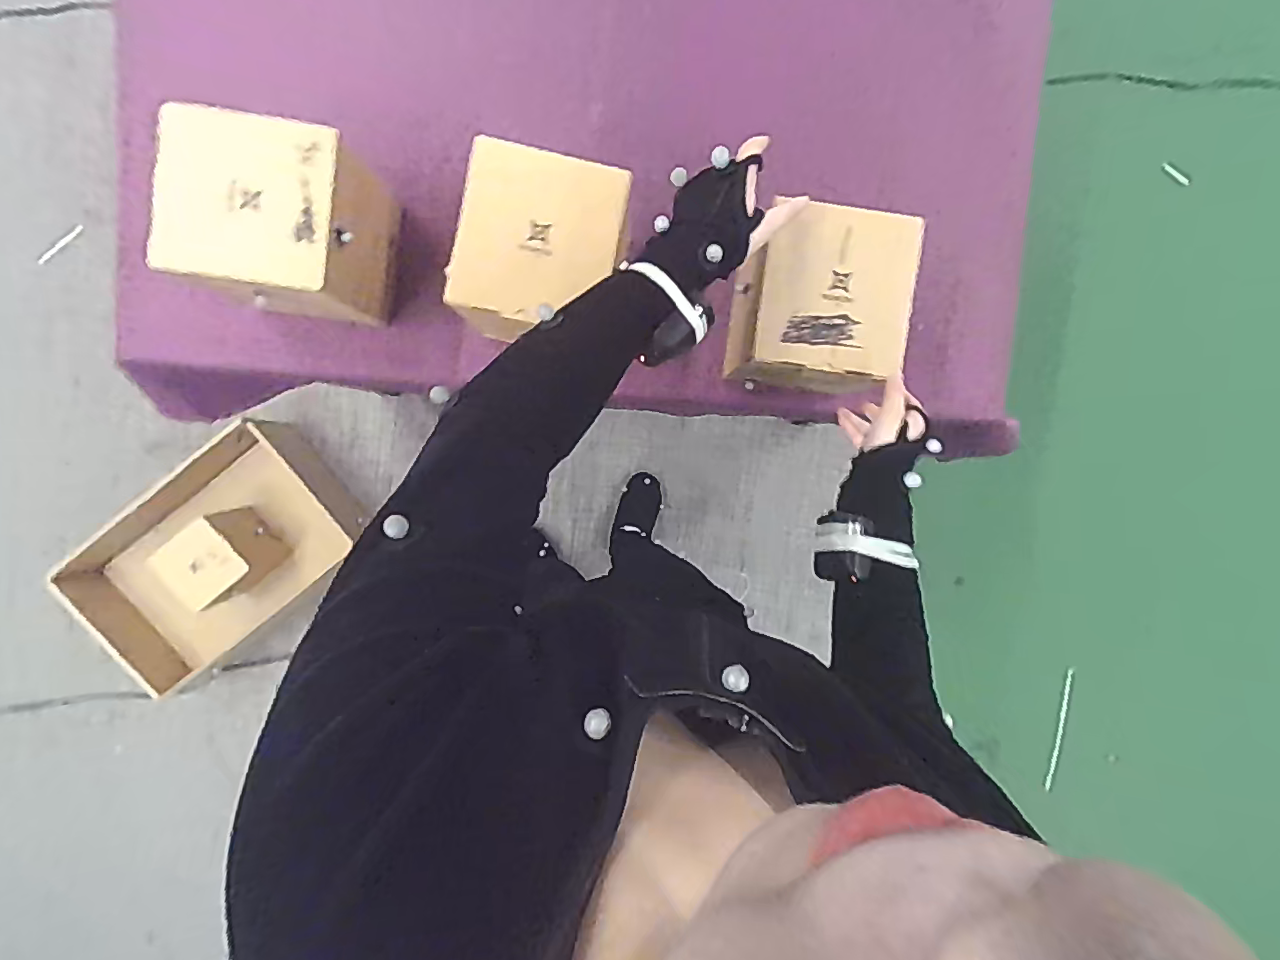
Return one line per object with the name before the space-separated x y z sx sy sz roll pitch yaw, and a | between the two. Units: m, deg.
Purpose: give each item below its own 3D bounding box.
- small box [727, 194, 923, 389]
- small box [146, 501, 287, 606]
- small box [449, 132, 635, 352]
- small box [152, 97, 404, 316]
small box | 0.209 -0.212 0.660 0.168 0.176 0.179 8 93 -3
small box | -1.022 0.171 1.324 0.179 0.176 0.168 -38 96 2
small box | -0.107 -0.265 0.646 0.168 0.176 0.179 12 95 -3
small box | -0.403 -0.299 0.629 0.179 0.176 0.168 8 95 -2
